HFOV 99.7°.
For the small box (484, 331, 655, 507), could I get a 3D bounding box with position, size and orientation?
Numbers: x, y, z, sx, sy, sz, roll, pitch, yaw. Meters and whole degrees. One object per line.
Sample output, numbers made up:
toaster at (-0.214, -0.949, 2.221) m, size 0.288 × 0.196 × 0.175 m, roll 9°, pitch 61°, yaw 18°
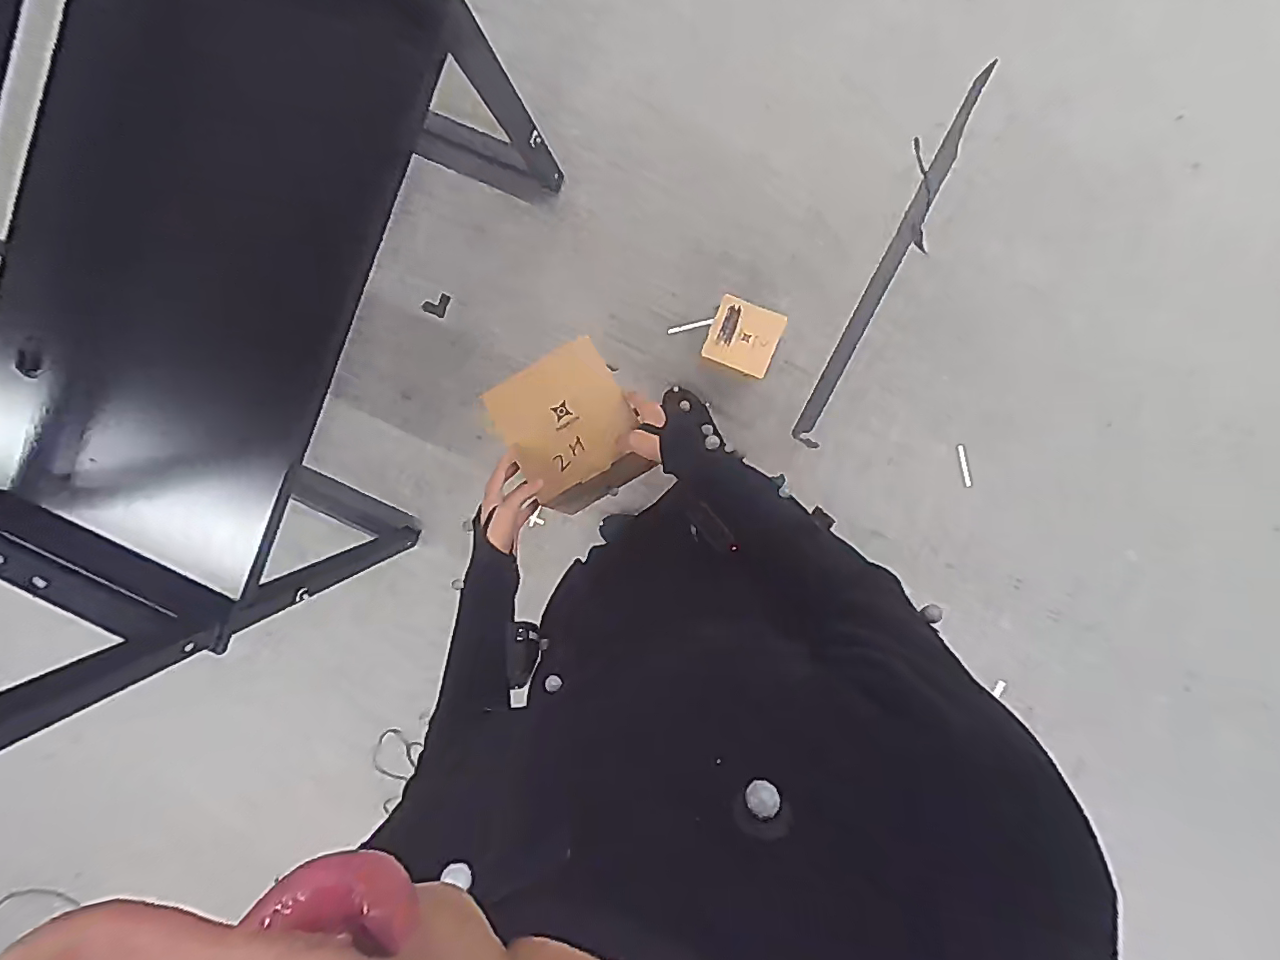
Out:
small box at (-0.091, -0.076, 0.780) m, size 0.168 × 0.176 × 0.179 m, roll -29°, pitch 81°, yaw 2°
